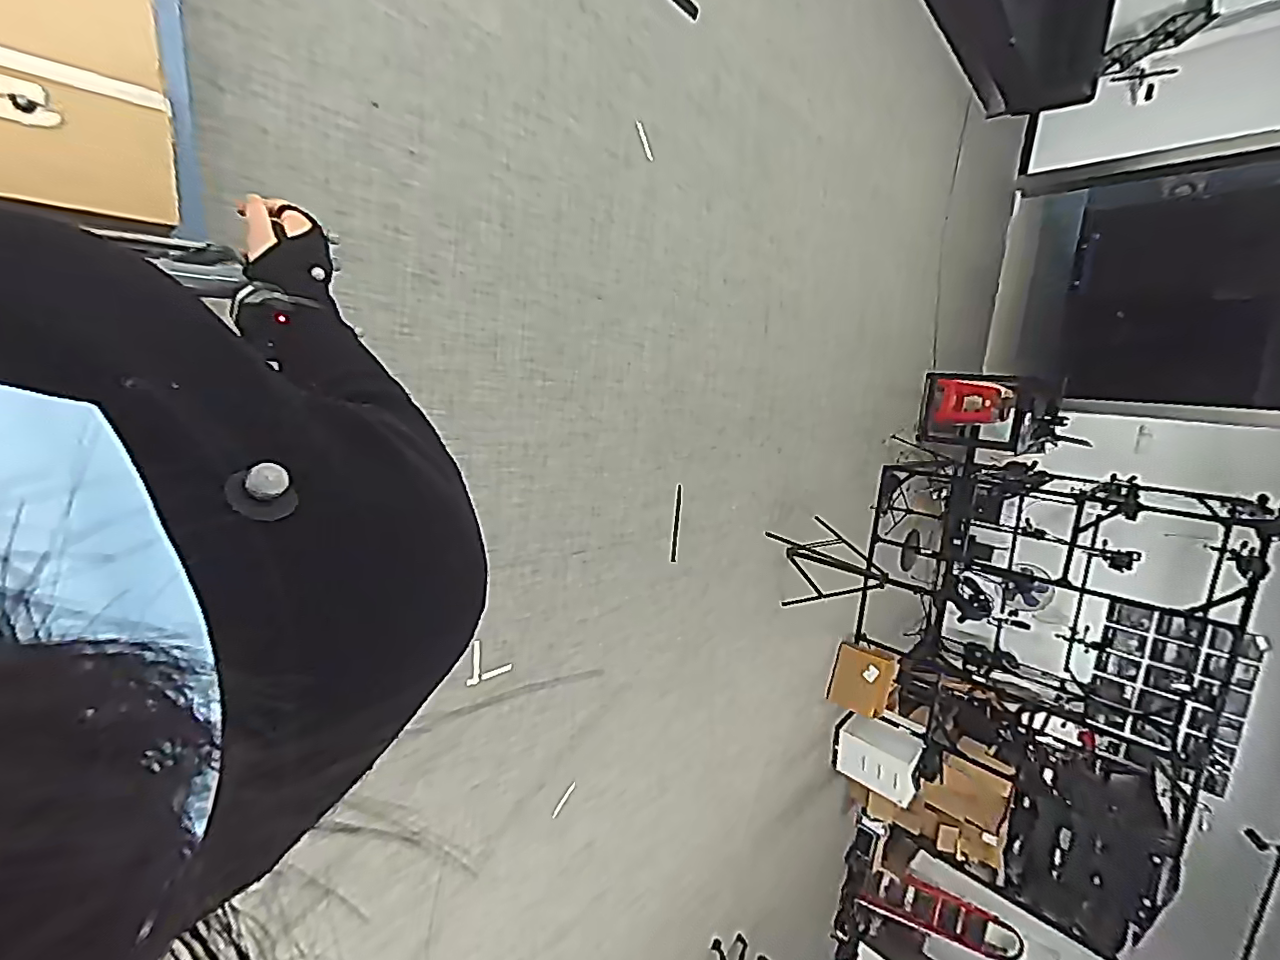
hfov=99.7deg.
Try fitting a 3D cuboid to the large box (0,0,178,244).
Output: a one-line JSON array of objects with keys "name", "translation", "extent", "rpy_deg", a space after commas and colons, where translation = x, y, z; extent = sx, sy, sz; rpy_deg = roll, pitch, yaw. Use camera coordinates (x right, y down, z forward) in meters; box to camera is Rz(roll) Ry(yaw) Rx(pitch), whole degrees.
[{"name": "large box", "translation": [-0.900, -0.518, 0.698], "extent": [0.408, 0.320, 0.320], "rpy_deg": [-10, 108, -47]}]
